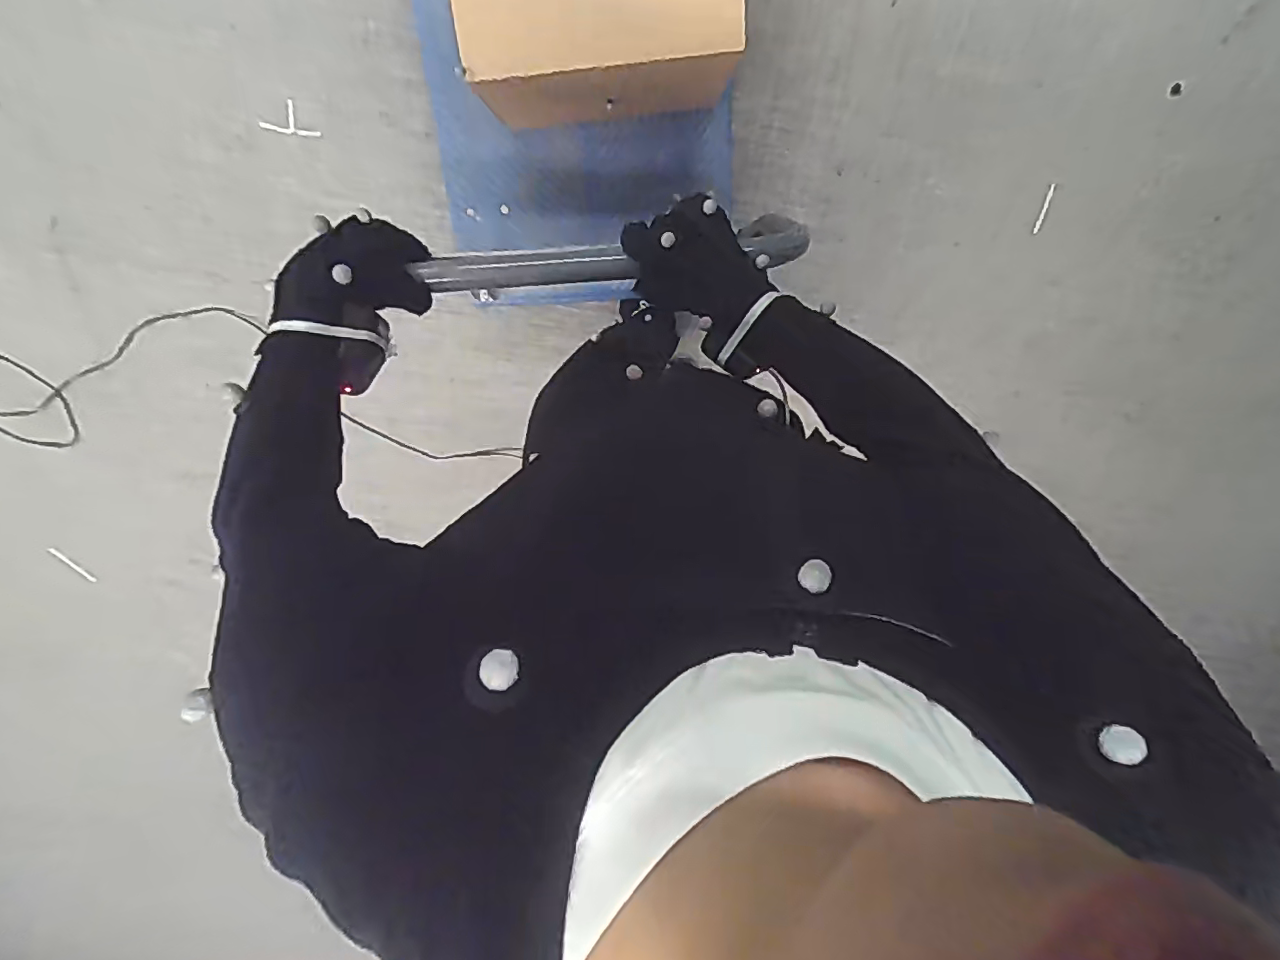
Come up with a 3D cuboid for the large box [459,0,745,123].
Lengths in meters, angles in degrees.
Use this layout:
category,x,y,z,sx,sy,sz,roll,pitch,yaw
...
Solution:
category,x,y,z,sx,sy,sz,roll,pitch,yaw
large box,-0.063,-0.801,0.863,0.408,0.320,0.320,-6,113,2
